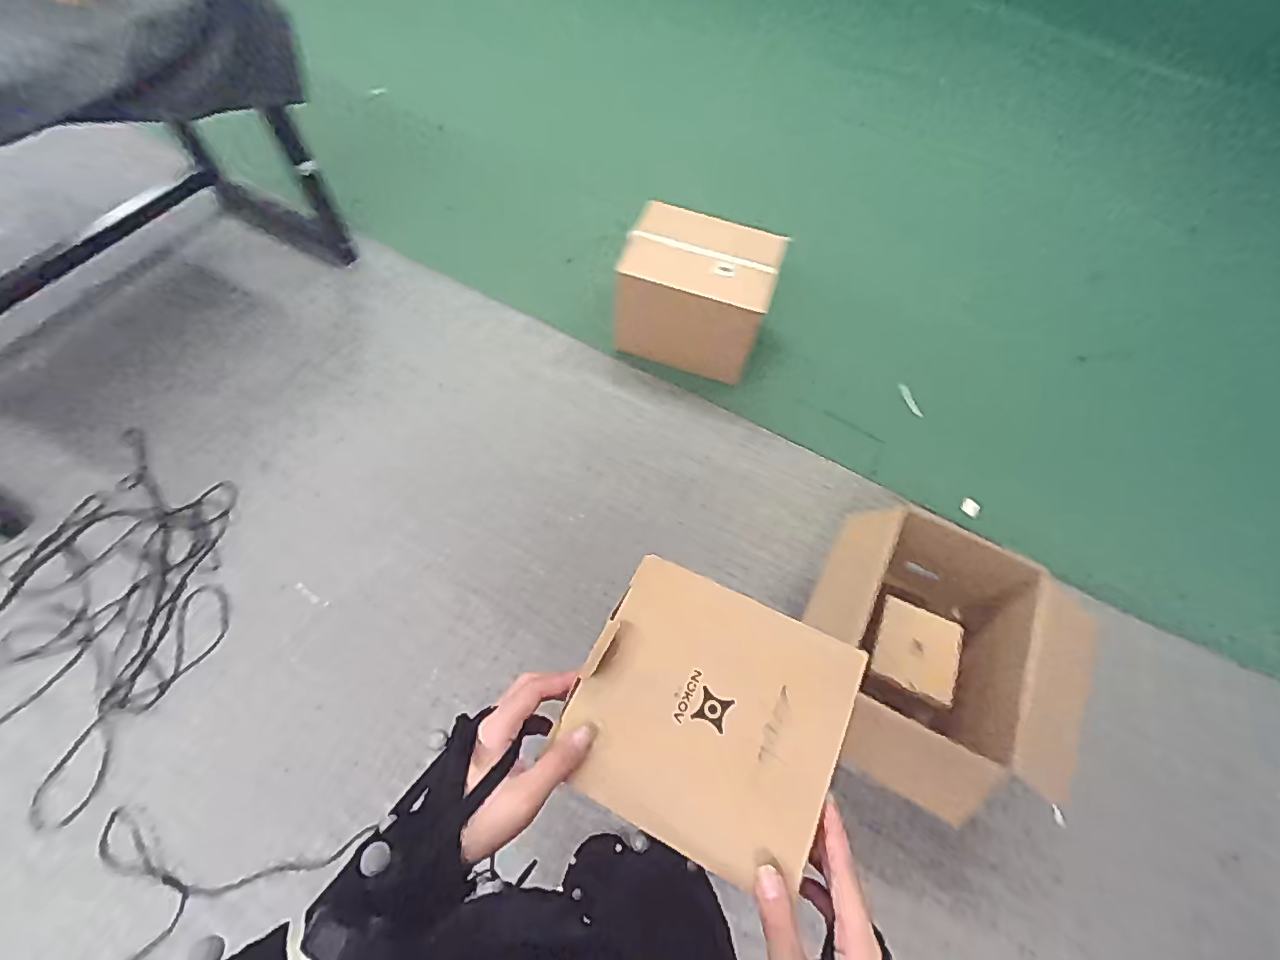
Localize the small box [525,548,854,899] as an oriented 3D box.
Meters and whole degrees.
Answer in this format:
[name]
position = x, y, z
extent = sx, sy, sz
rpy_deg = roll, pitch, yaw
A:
[small box]
position = 0.038, 0.185, 0.429
extent = 0.179, 0.176, 0.168
rpy_deg = 22, 64, 12
